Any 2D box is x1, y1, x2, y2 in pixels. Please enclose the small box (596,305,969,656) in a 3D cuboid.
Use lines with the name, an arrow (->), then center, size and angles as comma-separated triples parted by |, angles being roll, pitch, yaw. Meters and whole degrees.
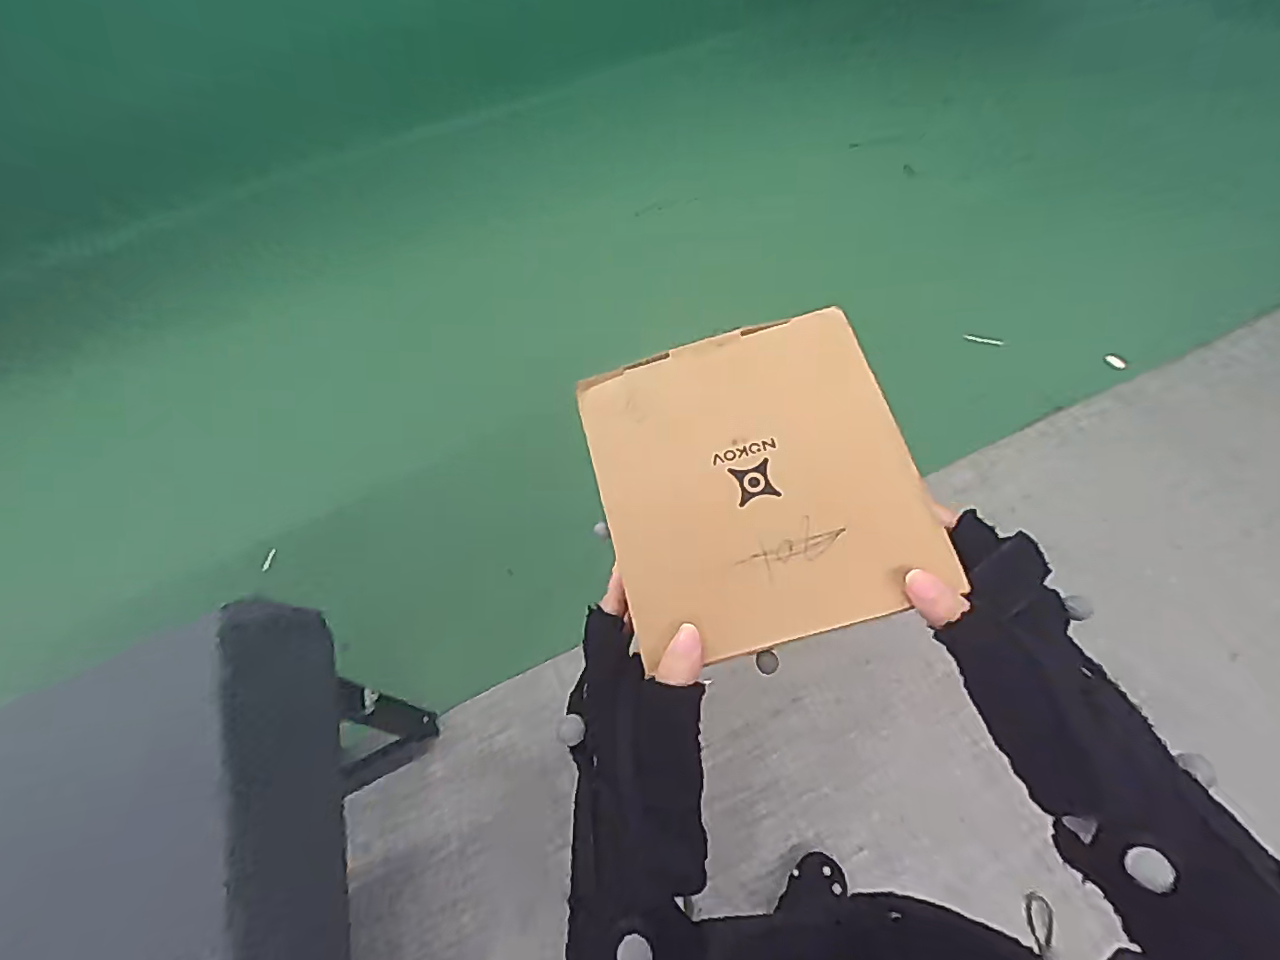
small box -> 0.078, 0.017, 0.378 | 0.168, 0.176, 0.179 | -16, 72, 3
